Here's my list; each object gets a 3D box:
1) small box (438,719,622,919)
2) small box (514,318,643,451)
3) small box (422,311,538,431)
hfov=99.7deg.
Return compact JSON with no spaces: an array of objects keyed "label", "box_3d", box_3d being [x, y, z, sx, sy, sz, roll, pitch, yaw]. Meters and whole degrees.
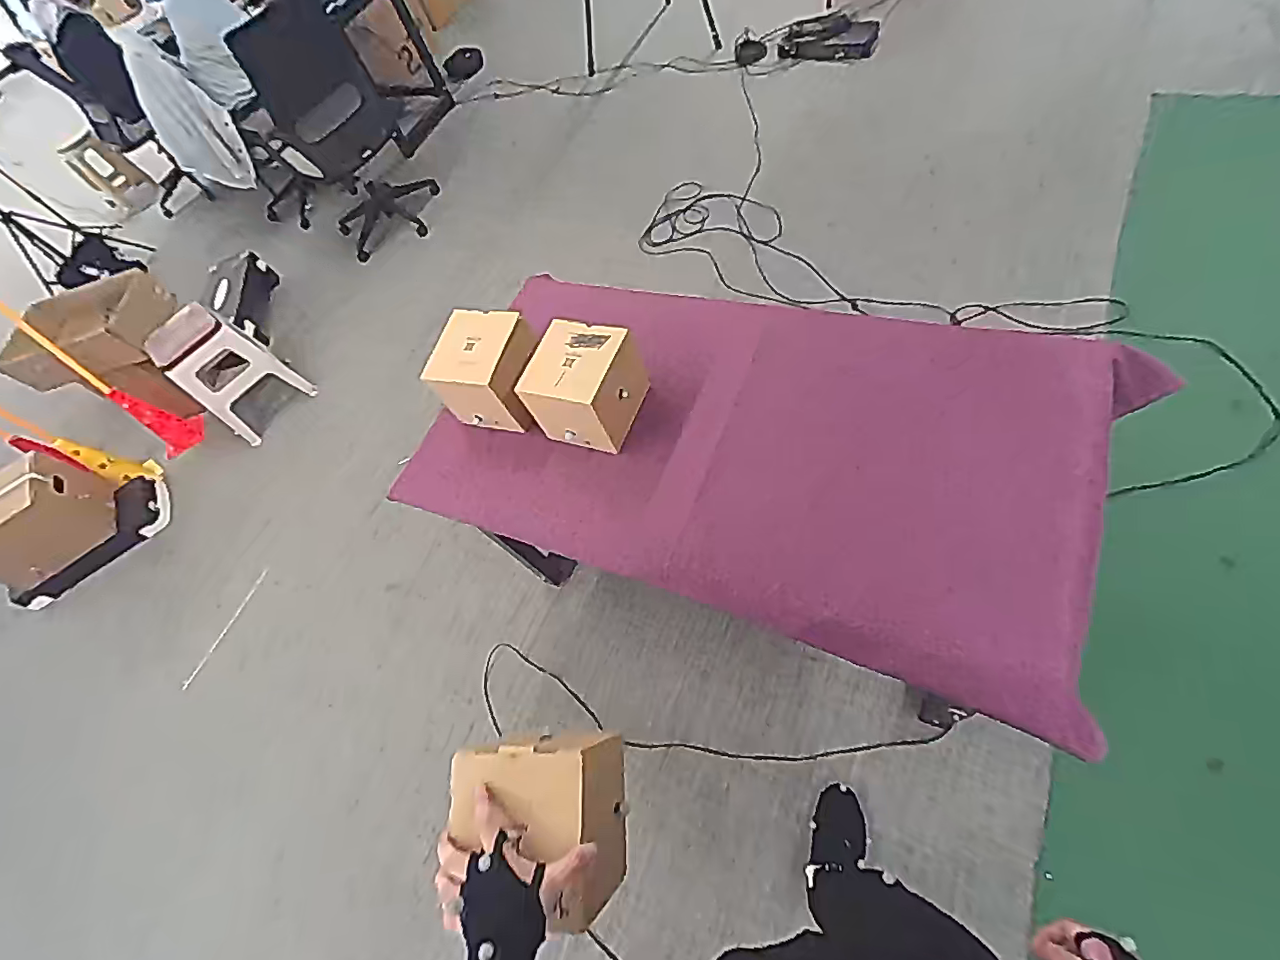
[{"label":"small box","box_3d":[-0.124,0.401,0.676,0.168,0.176,0.179,-6,72,15]},{"label":"small box","box_3d":[-0.106,-0.182,1.046,0.168,0.176,0.179,14,68,24]},{"label":"small box","box_3d":[-0.311,-0.227,1.134,0.168,0.176,0.179,10,66,22]}]
